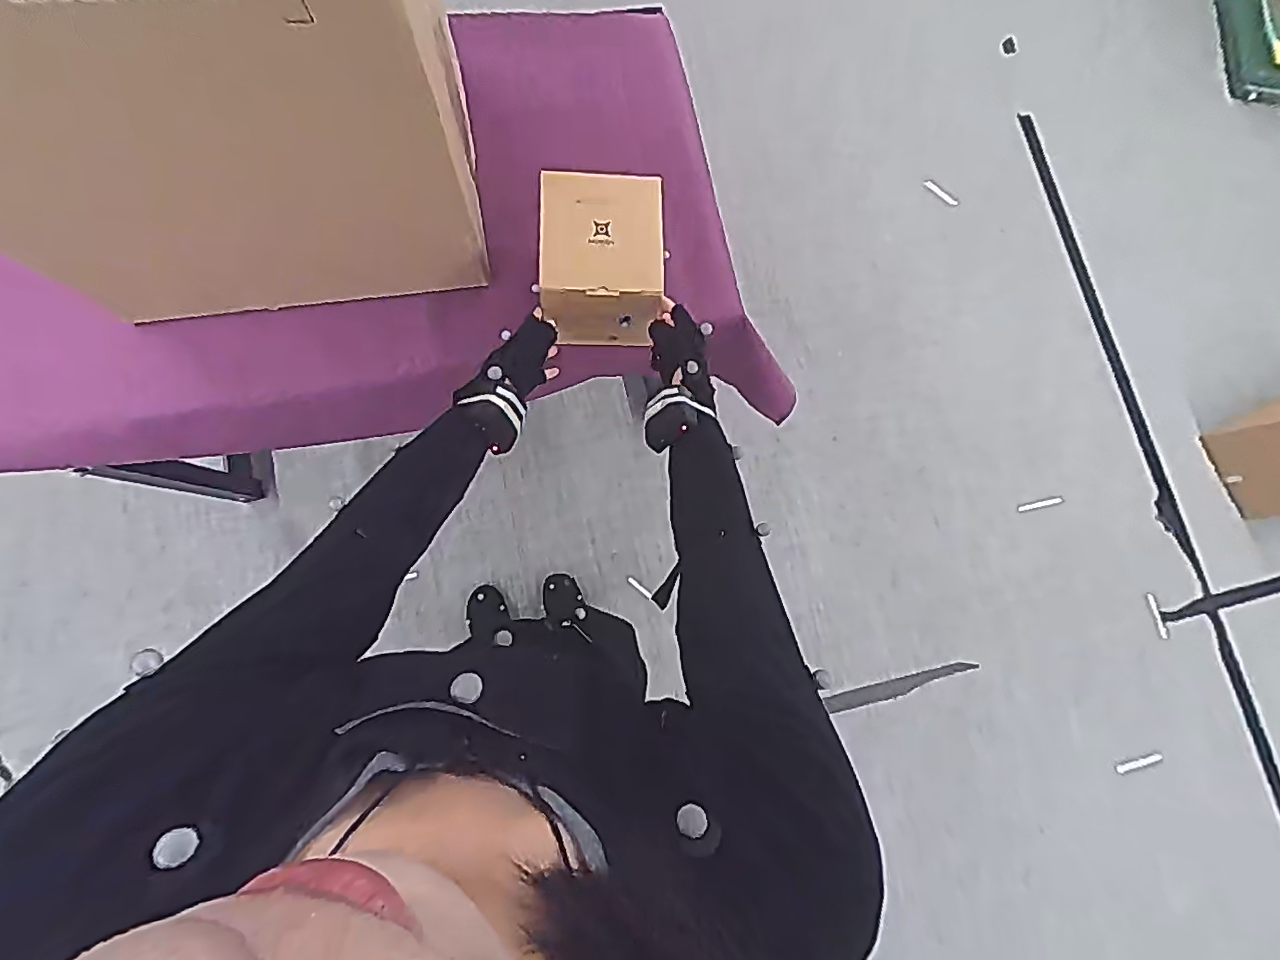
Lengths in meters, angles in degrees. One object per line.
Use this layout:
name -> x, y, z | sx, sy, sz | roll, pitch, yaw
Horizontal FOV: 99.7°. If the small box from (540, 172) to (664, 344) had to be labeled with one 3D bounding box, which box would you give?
small box -> -0.057, -0.313, 0.796 | 0.168, 0.176, 0.179 | 0, 79, -7
